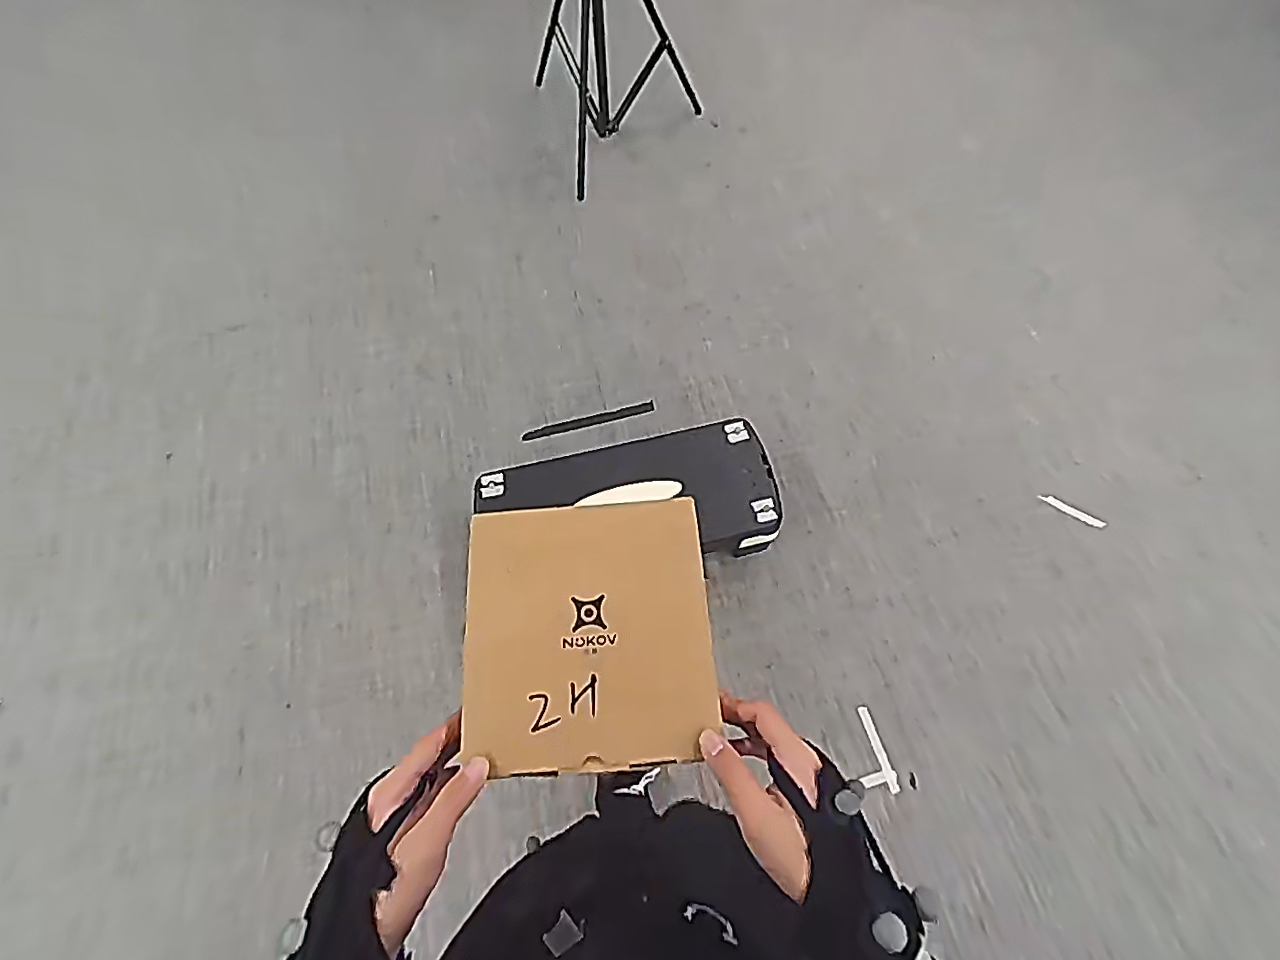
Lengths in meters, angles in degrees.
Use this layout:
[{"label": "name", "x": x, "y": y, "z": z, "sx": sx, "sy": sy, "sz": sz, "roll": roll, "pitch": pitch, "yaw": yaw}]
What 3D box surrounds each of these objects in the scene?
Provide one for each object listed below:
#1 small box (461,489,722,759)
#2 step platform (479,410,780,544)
[{"label": "small box", "x": -0.033, "y": 0.123, "z": 0.441, "sx": 0.168, "sy": 0.176, "sz": 0.179, "roll": -4, "pitch": 66, "yaw": 0}, {"label": "step platform", "x": -0.024, "y": 0.053, "z": 1.277, "sx": 0.684, "sy": 0.204, "sz": 0.286, "roll": -13, "pitch": 68, "yaw": -5}]
